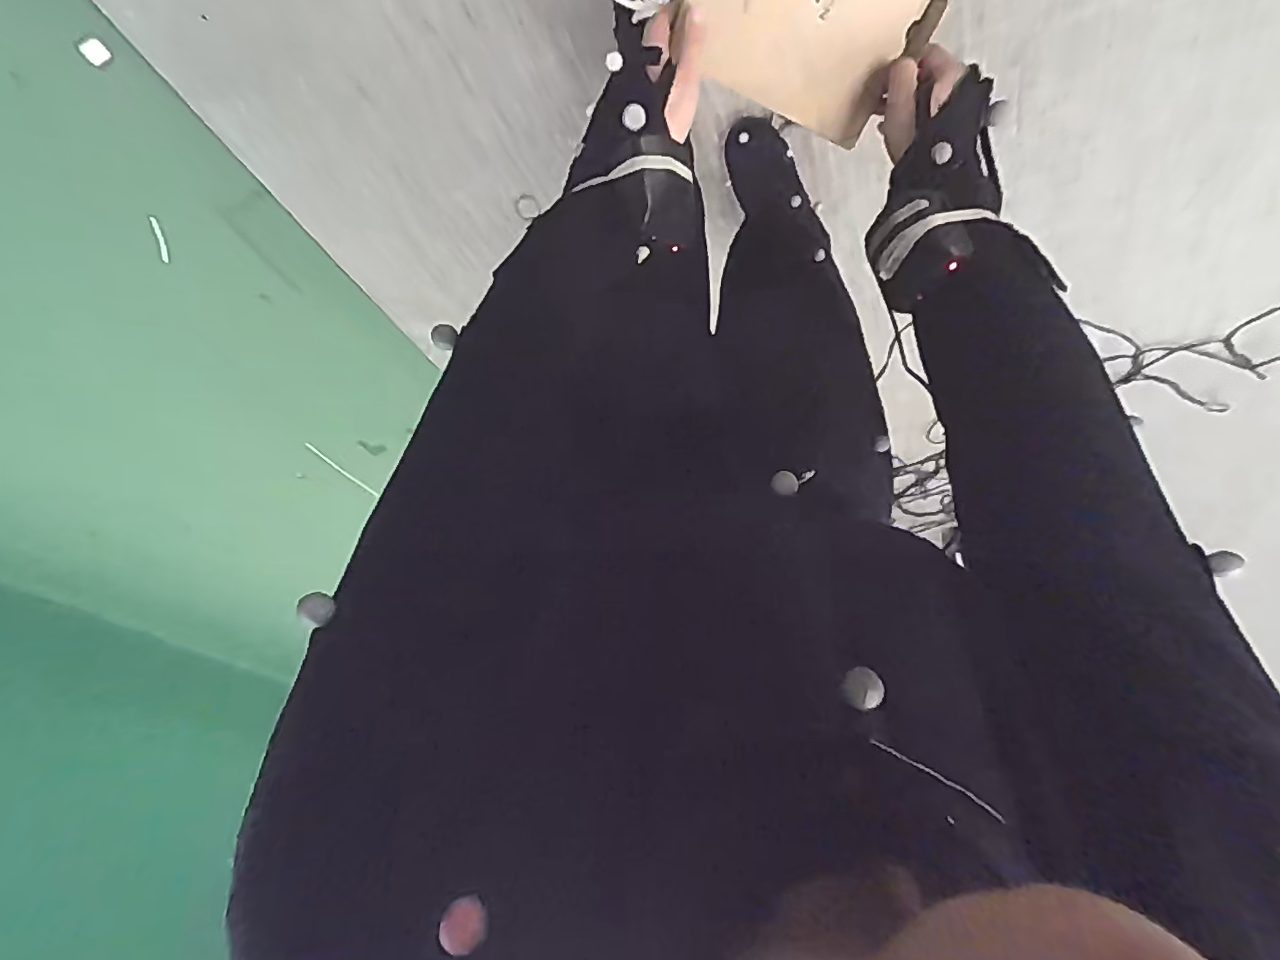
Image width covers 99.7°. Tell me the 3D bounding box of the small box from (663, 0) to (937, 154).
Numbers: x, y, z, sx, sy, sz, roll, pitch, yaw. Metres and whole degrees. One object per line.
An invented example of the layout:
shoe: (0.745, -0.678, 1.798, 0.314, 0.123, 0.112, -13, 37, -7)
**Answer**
small box: (0.128, -0.407, 0.453, 0.179, 0.176, 0.168, 17, 126, -12)
